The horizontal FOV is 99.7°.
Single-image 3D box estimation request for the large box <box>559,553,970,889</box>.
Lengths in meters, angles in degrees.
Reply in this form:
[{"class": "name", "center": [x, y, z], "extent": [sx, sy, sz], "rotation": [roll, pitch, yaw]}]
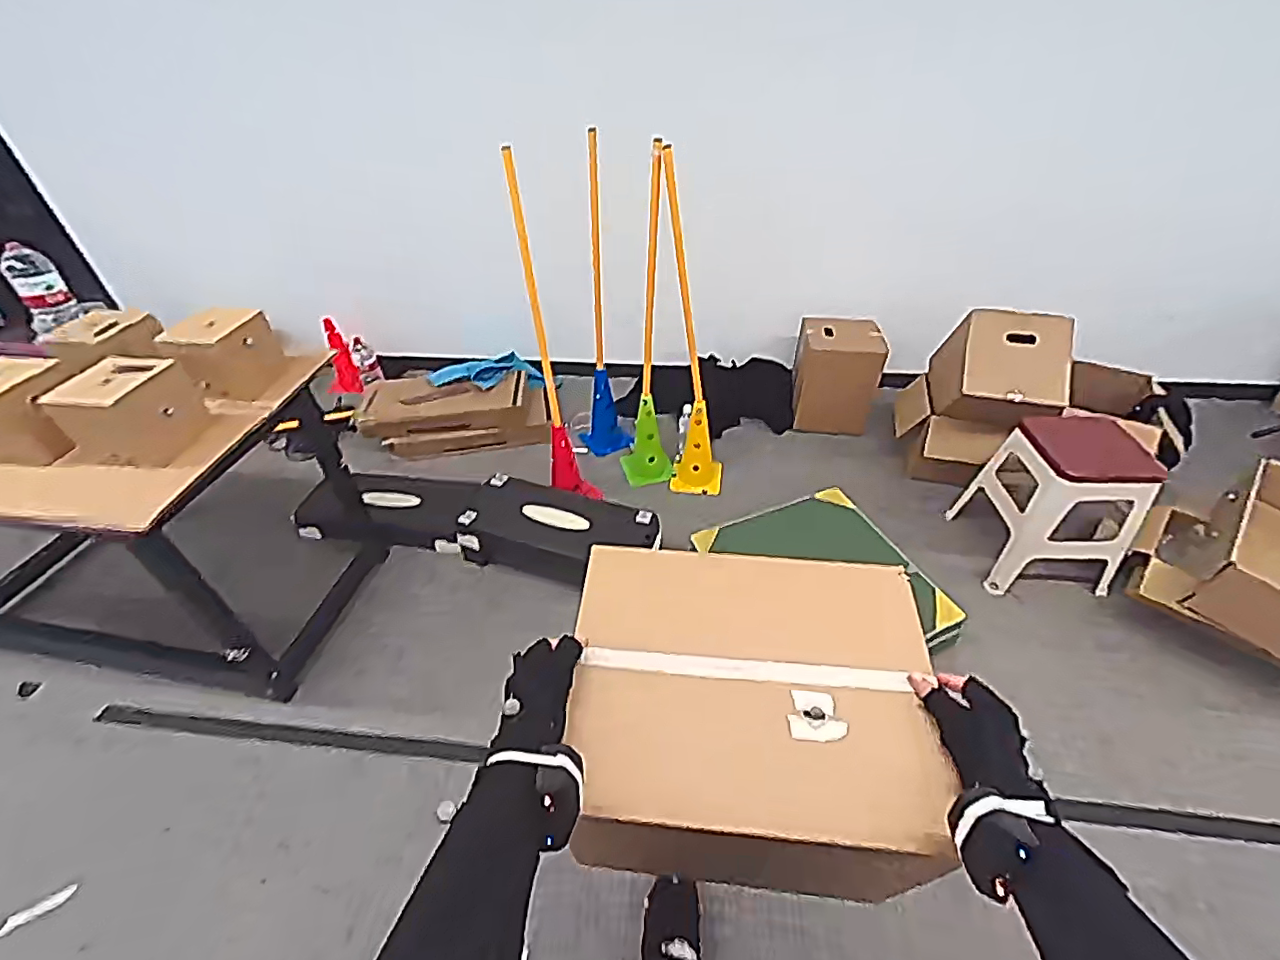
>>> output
[{"class": "large box", "center": [0.130, 0.322, 0.729], "extent": [0.408, 0.320, 0.320], "rotation": [4, 47, 5]}]
